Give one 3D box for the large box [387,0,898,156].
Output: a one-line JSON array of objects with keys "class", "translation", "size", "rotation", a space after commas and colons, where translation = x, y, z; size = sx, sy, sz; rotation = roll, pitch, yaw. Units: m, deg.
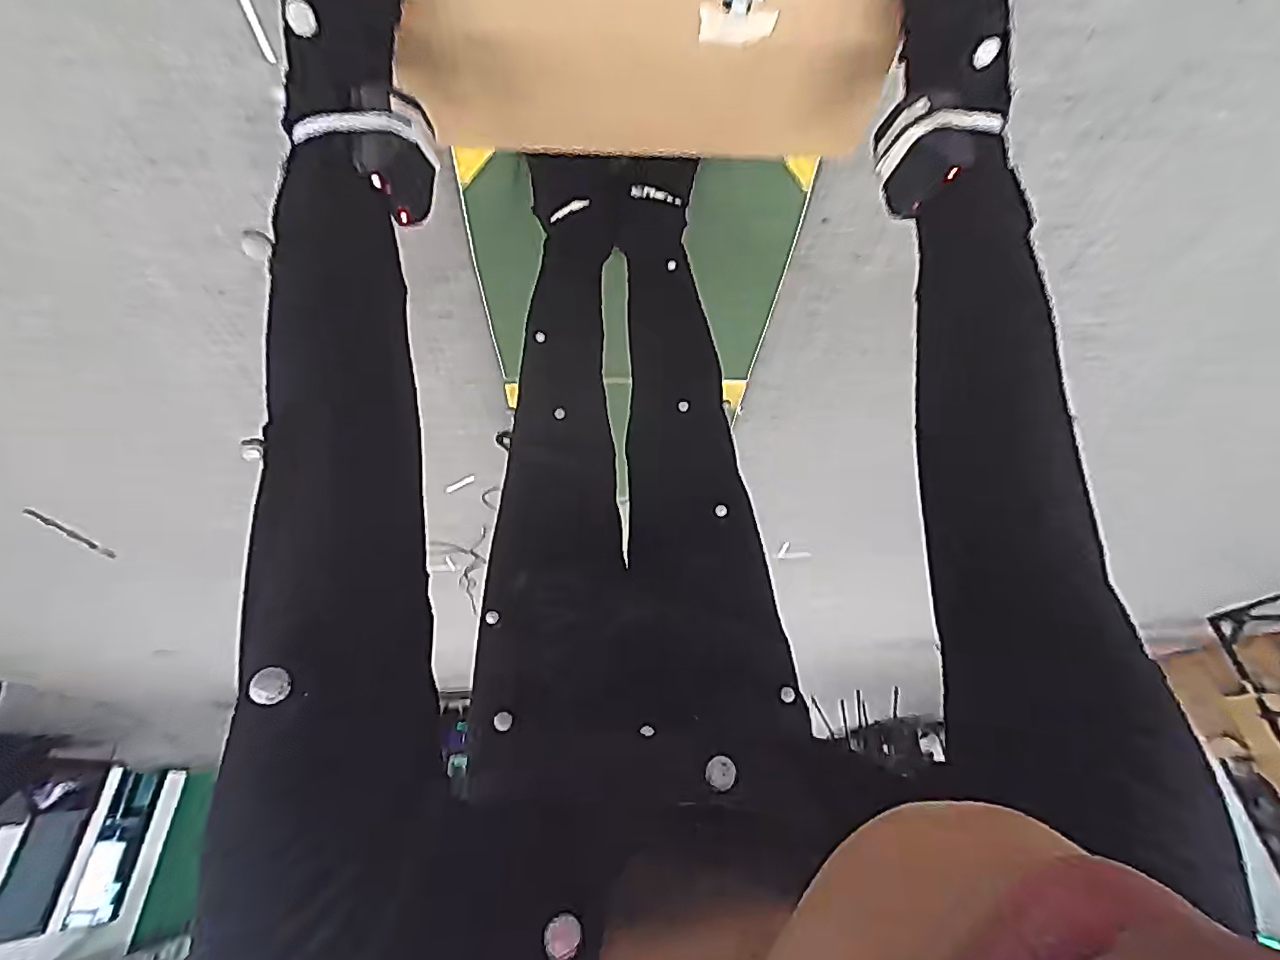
[{"class": "large box", "translation": [-0.004, -0.514, 0.470], "size": [0.408, 0.320, 0.320], "rotation": [-2, 145, -5]}]
